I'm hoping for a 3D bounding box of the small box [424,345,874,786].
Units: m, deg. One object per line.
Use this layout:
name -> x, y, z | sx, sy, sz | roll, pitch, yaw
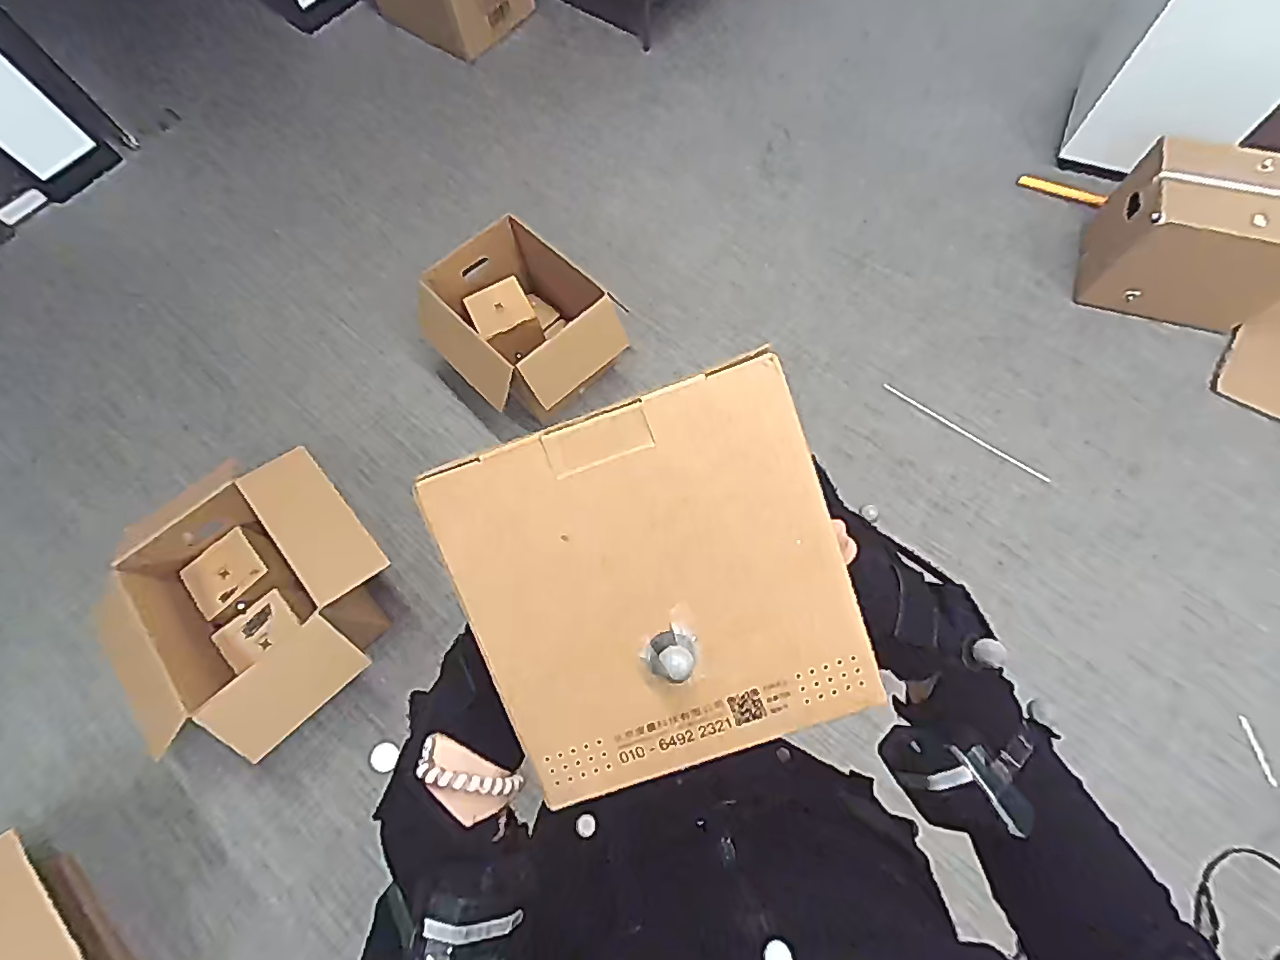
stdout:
small box -> 0.009, 0.035, 0.321 | 0.168, 0.179, 0.176 | -20, 98, 4
